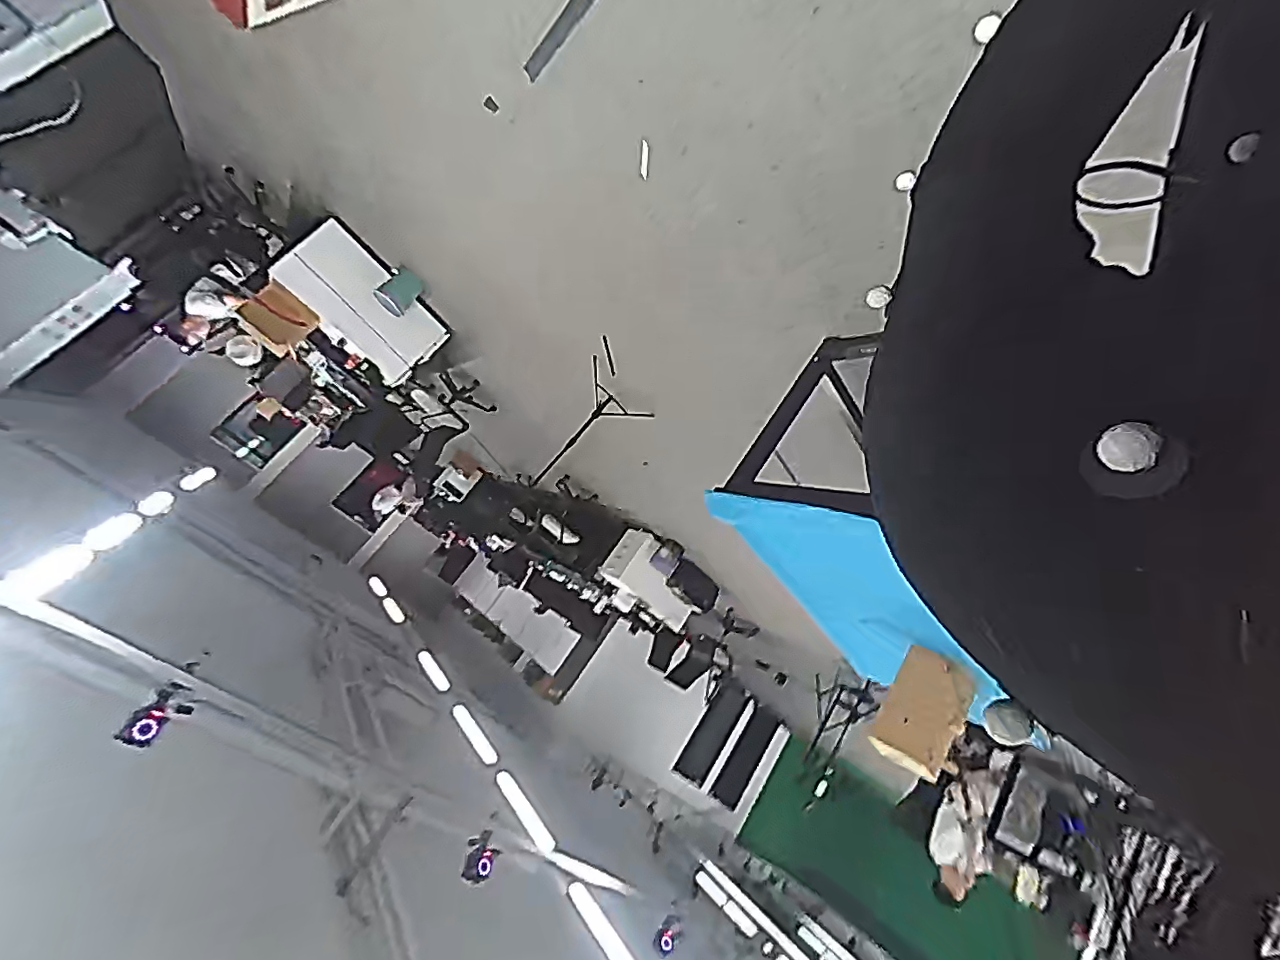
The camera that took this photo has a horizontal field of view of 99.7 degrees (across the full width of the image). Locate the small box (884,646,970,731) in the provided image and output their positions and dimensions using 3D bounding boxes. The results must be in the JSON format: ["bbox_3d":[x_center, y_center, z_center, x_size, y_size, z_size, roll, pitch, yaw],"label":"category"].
[{"bbox_3d":[0.921,0.672,1.738,0.179,0.176,0.168,11,148,51],"label":"small box"}]

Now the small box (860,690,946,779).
[{"bbox_3d":[0.826,0.800,1.698,0.179,0.176,0.168,12,149,47],"label":"small box"}]
